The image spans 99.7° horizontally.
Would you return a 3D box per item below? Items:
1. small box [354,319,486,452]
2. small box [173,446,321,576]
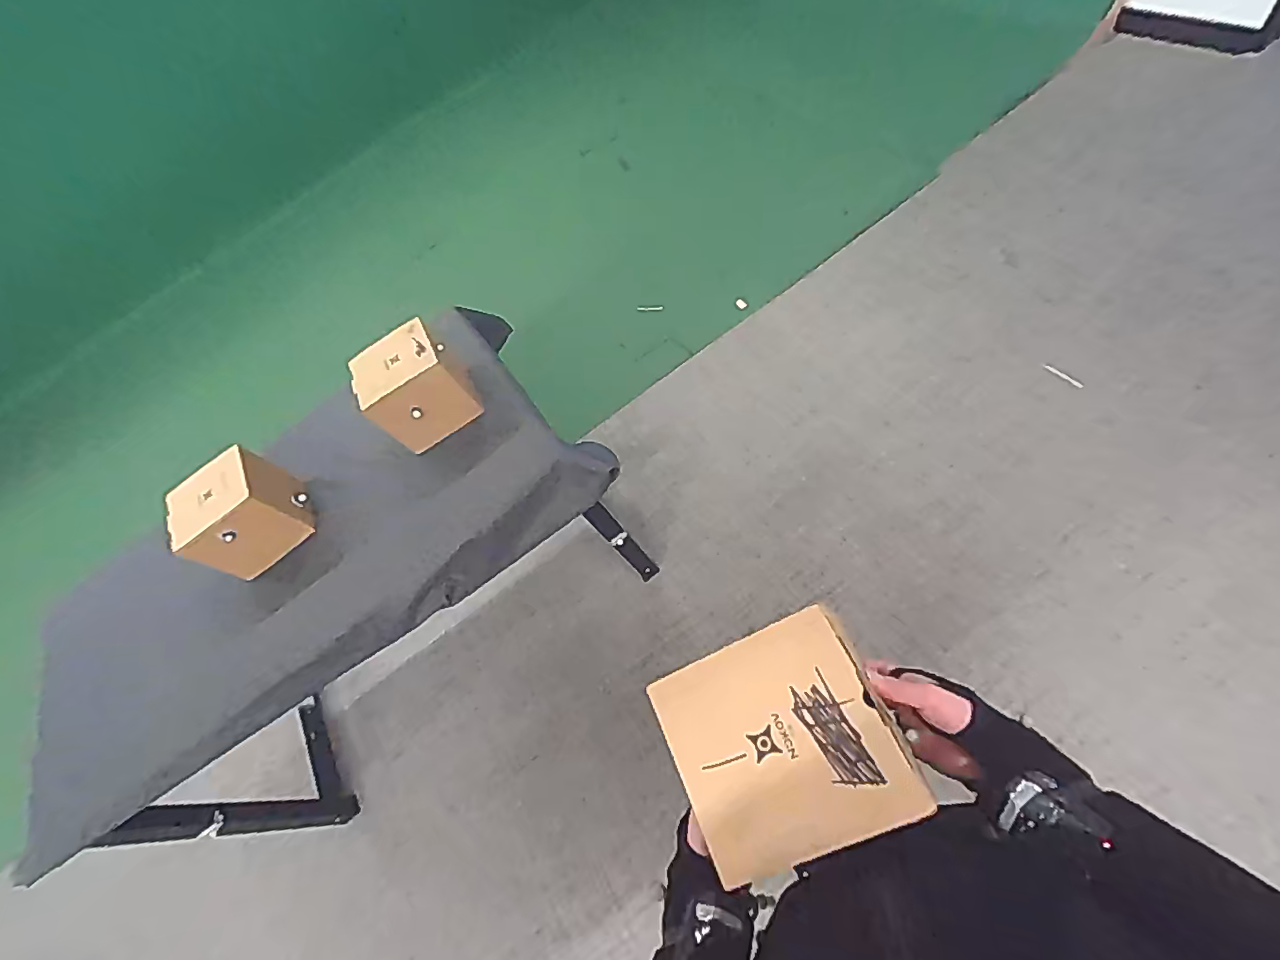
[{"bbox_3d":[-0.455,-0.190,1.128,0.179,0.176,0.168,-33,57,1],"label":"small box"},{"bbox_3d":[-0.805,0.070,1.116,0.179,0.176,0.168,-38,58,-4],"label":"small box"}]
